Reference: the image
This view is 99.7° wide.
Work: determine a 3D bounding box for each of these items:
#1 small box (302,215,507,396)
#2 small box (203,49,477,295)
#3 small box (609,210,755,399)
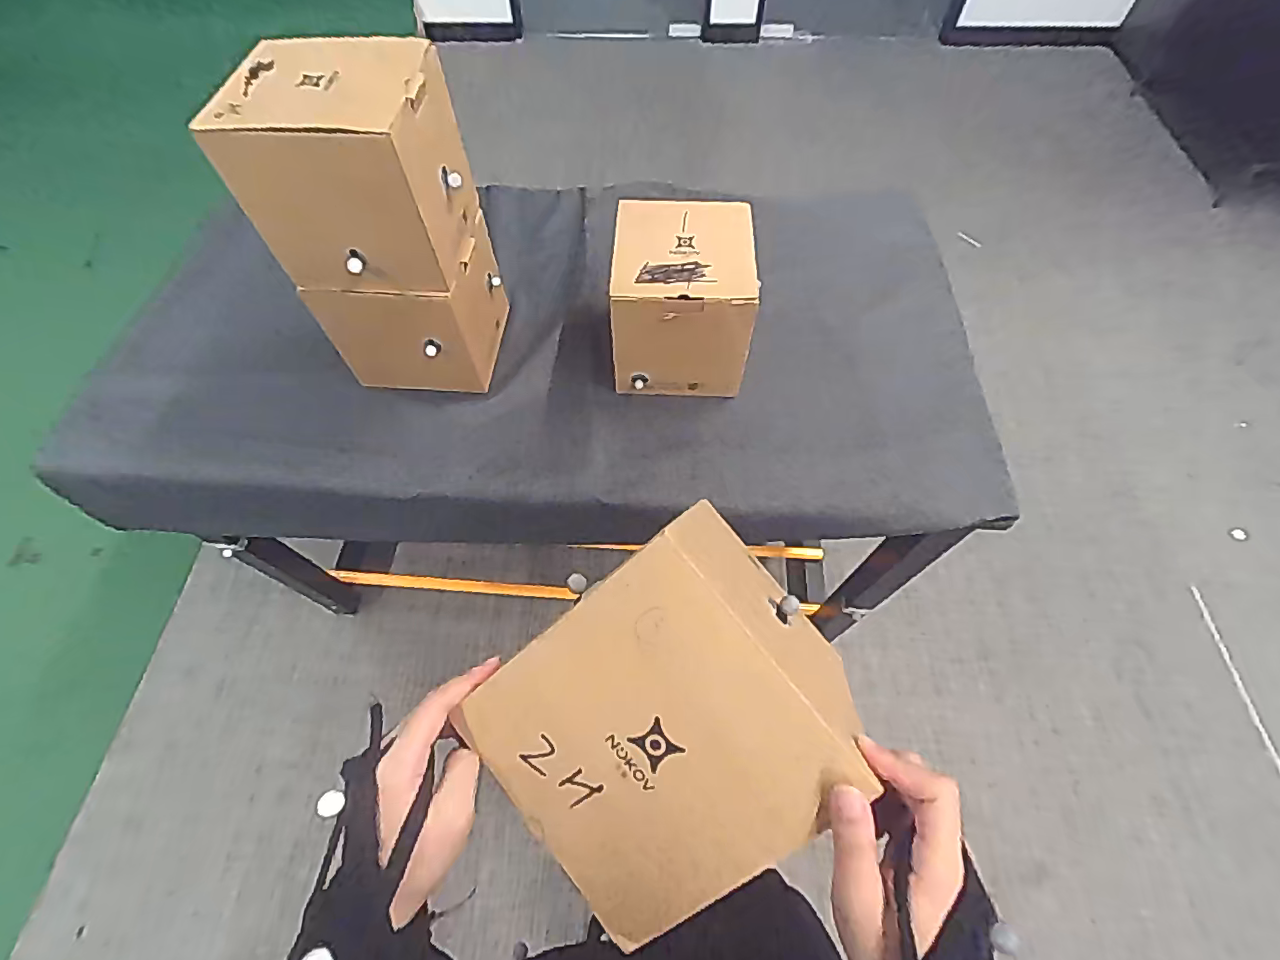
[{"bbox_3d":[-0.286,-0.225,0.709,0.179,0.176,0.168,3,58,2],"label":"small box"},{"bbox_3d":[-0.287,-0.316,0.571,0.179,0.176,0.168,2,59,1],"label":"small box"},{"bbox_3d":[0.051,-0.223,0.706,0.168,0.176,0.179,2,59,1],"label":"small box"}]
